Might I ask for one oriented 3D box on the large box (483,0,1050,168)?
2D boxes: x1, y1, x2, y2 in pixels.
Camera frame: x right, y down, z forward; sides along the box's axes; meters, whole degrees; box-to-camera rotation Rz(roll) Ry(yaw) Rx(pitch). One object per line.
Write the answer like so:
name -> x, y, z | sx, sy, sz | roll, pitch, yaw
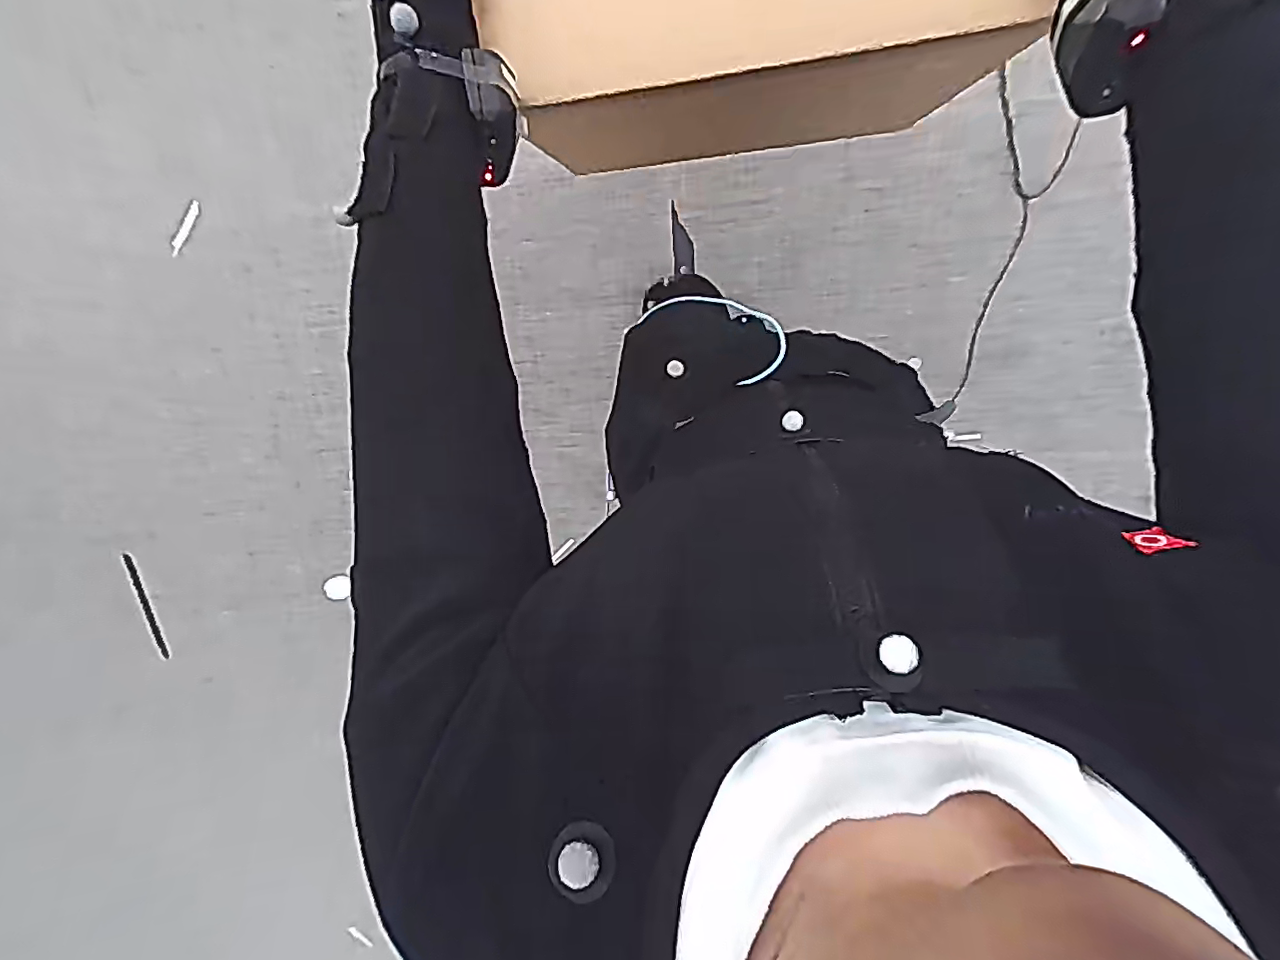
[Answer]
large box -> 0.082, -0.498, 0.467 | 0.408, 0.320, 0.320 | -5, 112, 7
